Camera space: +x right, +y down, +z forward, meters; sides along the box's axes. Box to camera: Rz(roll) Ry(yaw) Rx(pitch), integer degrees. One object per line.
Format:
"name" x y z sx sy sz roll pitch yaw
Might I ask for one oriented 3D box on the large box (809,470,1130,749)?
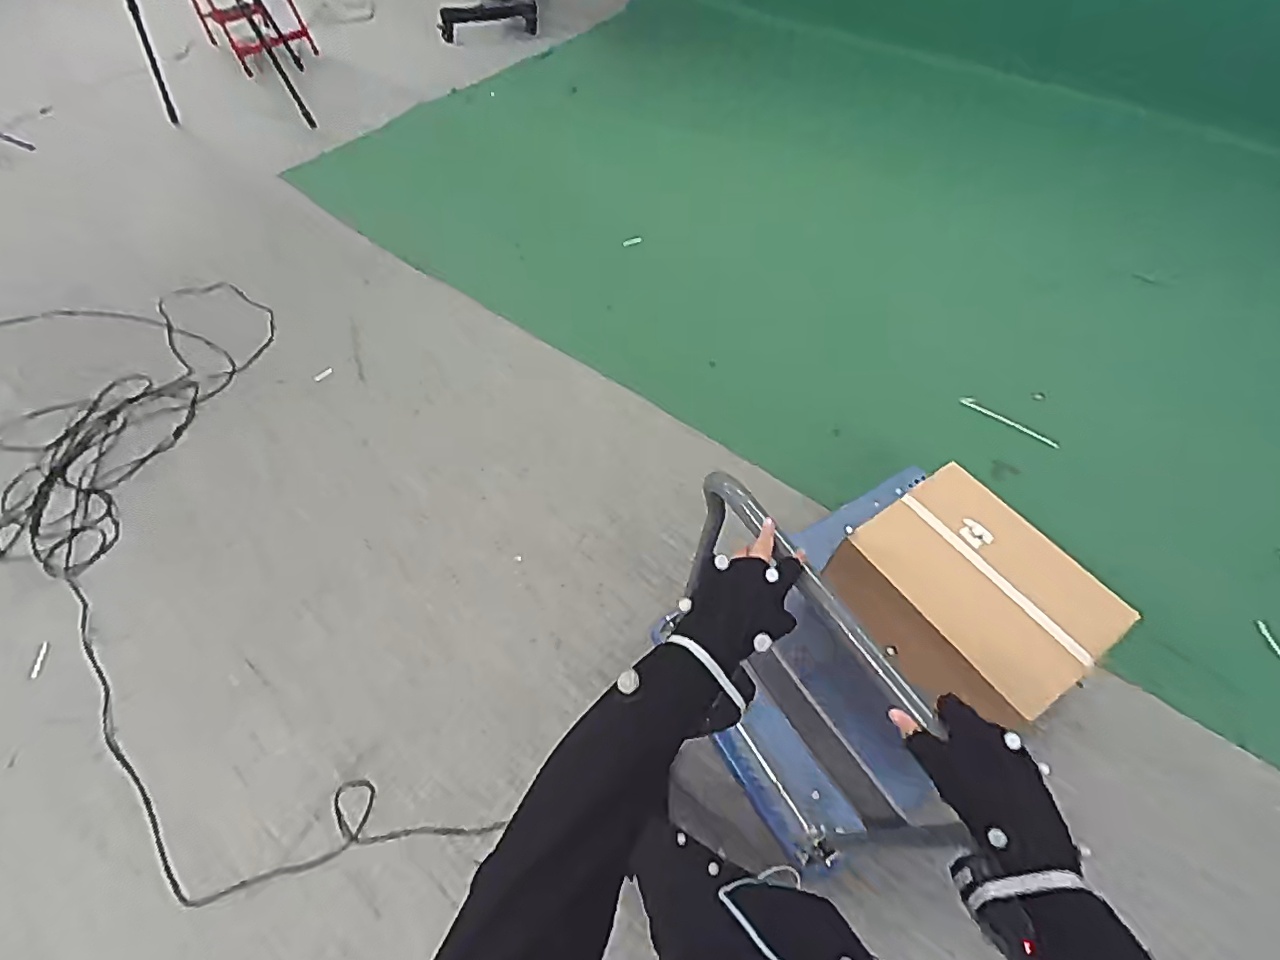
"large box" 0.626 0.265 1.113 0.320 0.320 0.408 -29 59 -17
